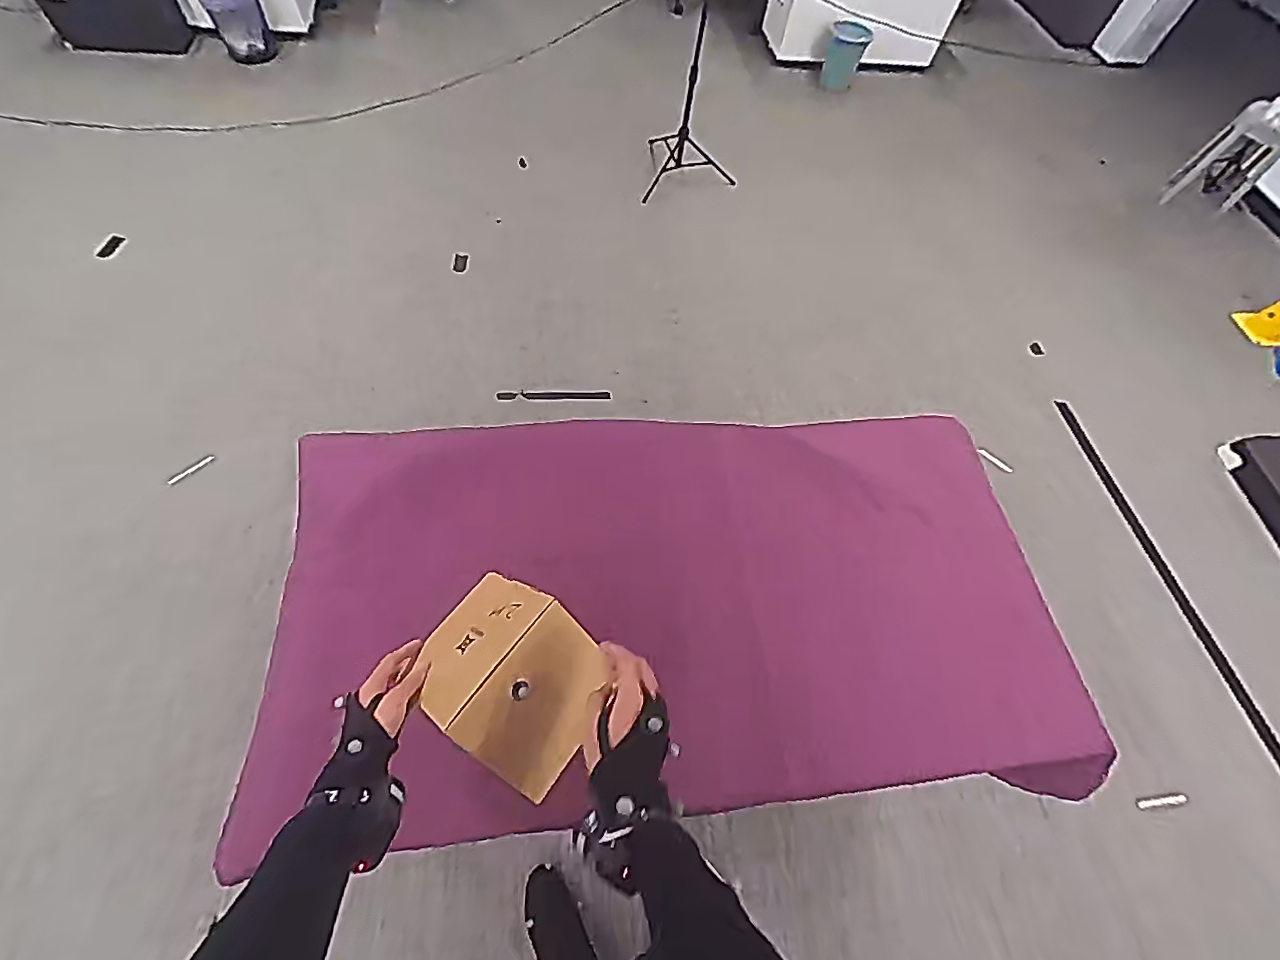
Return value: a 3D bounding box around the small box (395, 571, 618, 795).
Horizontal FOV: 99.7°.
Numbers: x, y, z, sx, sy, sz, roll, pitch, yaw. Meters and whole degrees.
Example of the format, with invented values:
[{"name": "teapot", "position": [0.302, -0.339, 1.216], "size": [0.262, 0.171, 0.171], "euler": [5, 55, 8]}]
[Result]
[{"name": "small box", "position": [-0.159, 0.245, 0.671], "size": [0.168, 0.176, 0.179], "euler": [7, 48, 49]}]
